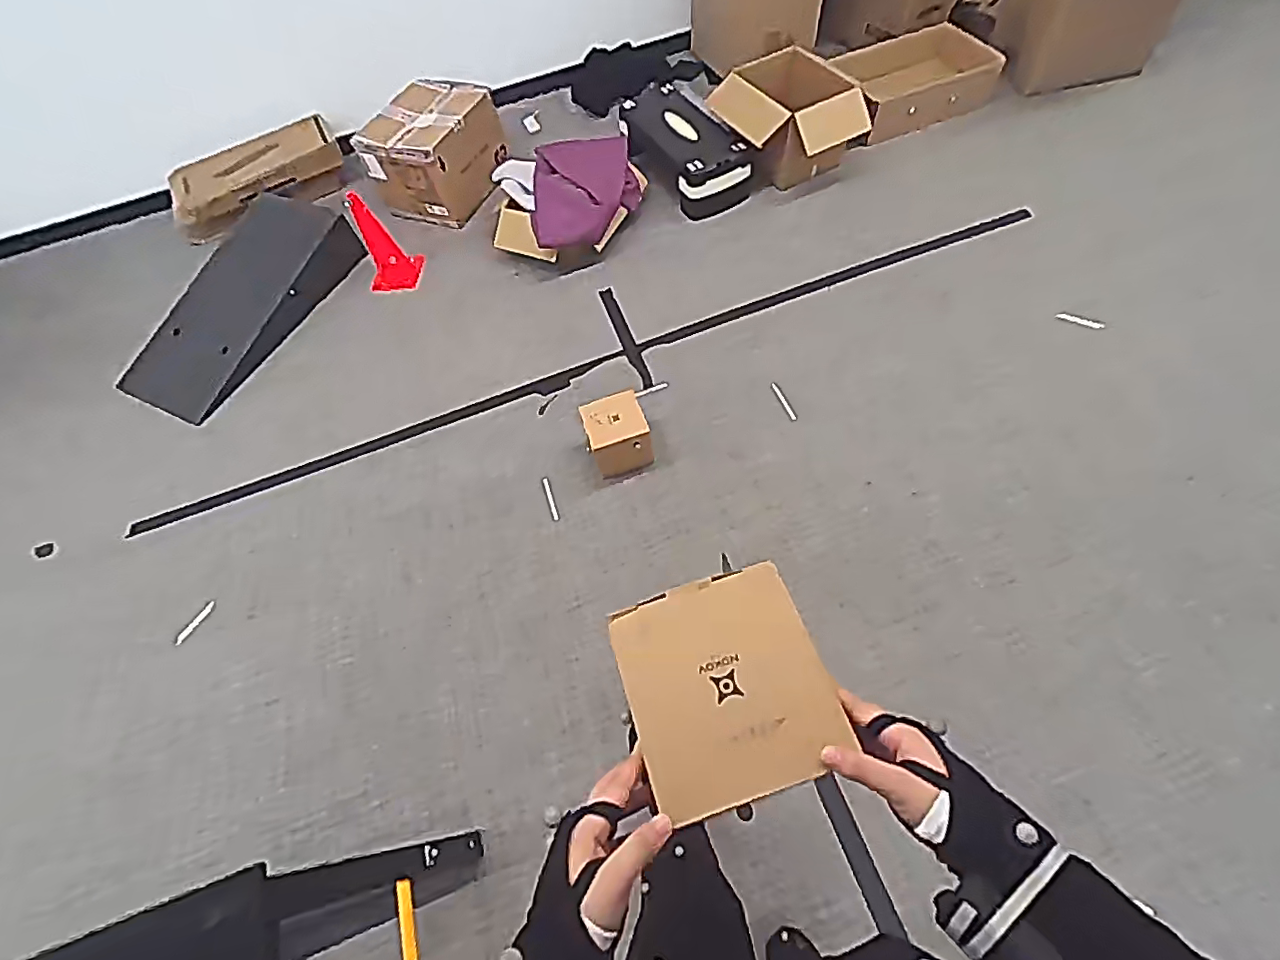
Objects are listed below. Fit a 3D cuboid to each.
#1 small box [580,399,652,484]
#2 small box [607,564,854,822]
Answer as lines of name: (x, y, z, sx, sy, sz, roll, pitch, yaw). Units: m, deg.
small box: (-0.066, -0.114, 1.647, 0.179, 0.176, 0.168, -19, 60, -4)
small box: (0.075, 0.212, 0.532, 0.168, 0.176, 0.179, -18, 60, -4)
